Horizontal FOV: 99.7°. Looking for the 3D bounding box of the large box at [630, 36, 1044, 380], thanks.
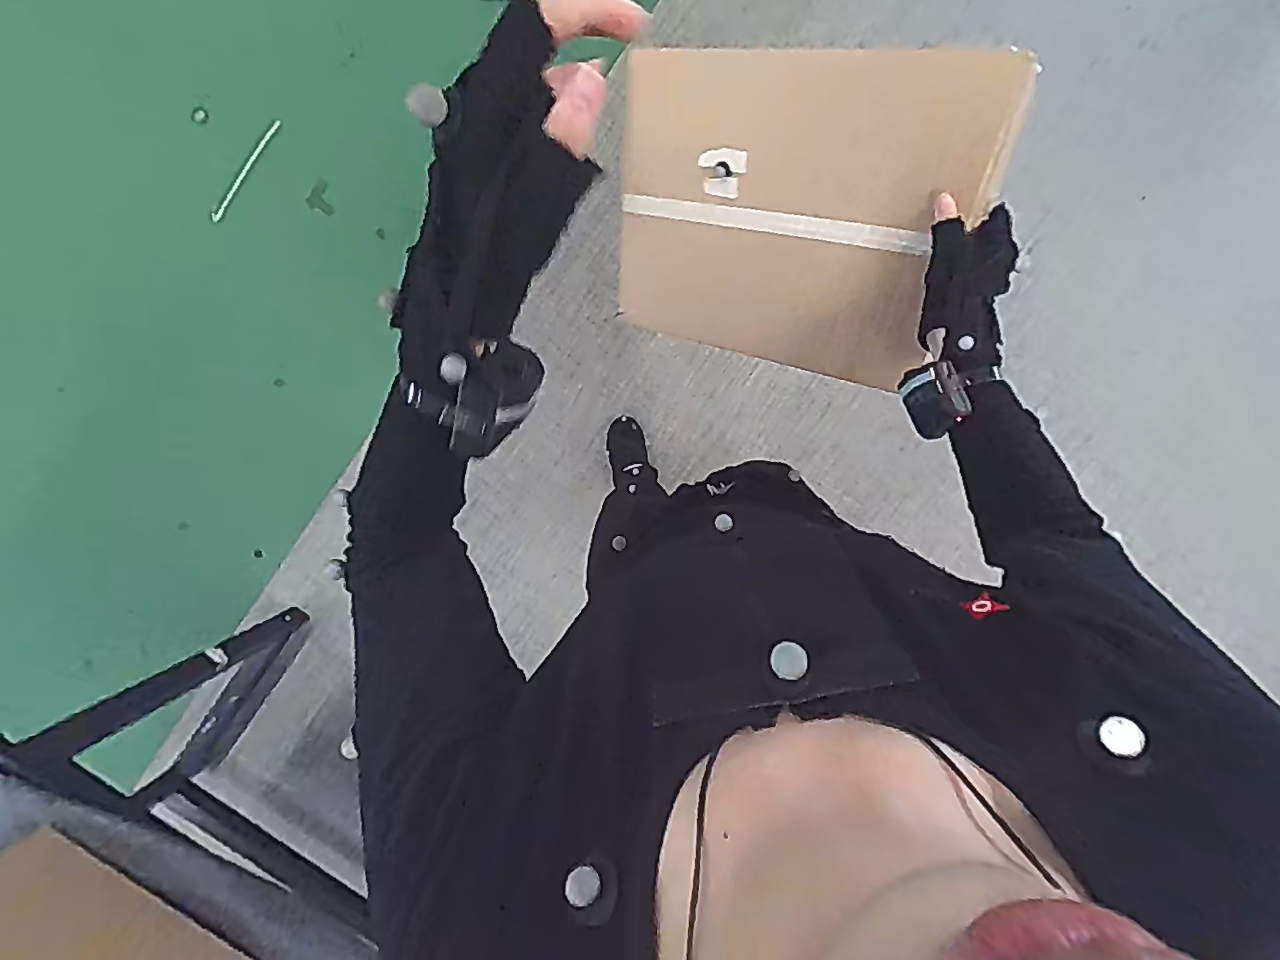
[{"bbox_3d":[0.242,-0.369,0.723,0.408,0.320,0.320,24,126,26],"label":"large box"}]
